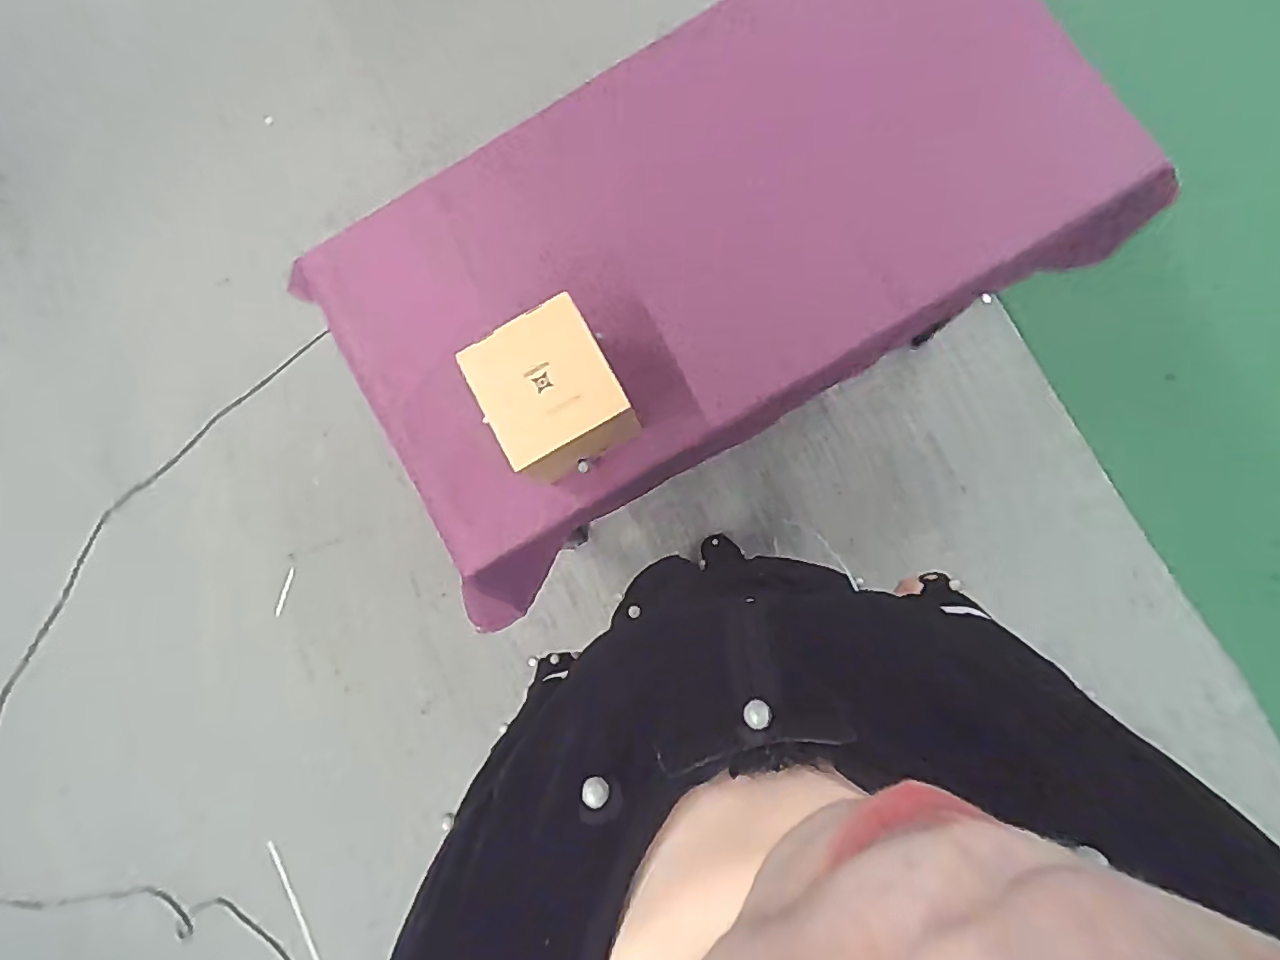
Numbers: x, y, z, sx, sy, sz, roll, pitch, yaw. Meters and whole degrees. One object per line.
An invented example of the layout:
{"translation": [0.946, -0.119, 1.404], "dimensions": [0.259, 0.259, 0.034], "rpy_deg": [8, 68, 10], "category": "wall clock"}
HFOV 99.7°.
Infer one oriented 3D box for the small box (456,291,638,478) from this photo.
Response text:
{"translation": [-0.117, -0.118, 0.750], "dimensions": [0.168, 0.176, 0.179], "rpy_deg": [-29, 83, 3], "category": "small box"}
